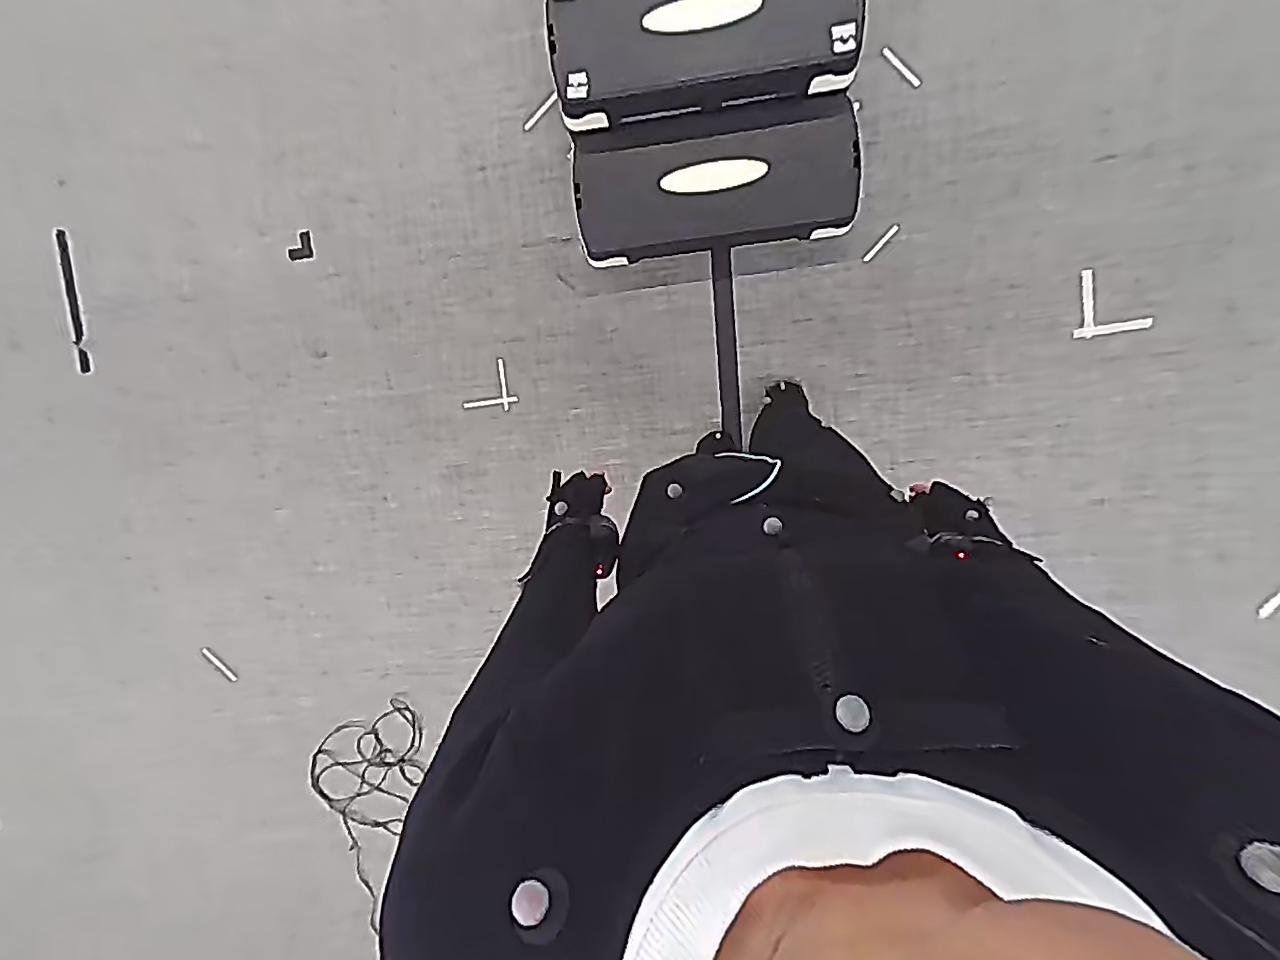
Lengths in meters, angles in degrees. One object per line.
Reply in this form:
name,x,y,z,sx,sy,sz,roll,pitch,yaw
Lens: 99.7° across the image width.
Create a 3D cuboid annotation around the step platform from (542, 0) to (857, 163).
step platform,0.124,-0.957,1.226,0.684,0.204,0.286,-6,97,6
